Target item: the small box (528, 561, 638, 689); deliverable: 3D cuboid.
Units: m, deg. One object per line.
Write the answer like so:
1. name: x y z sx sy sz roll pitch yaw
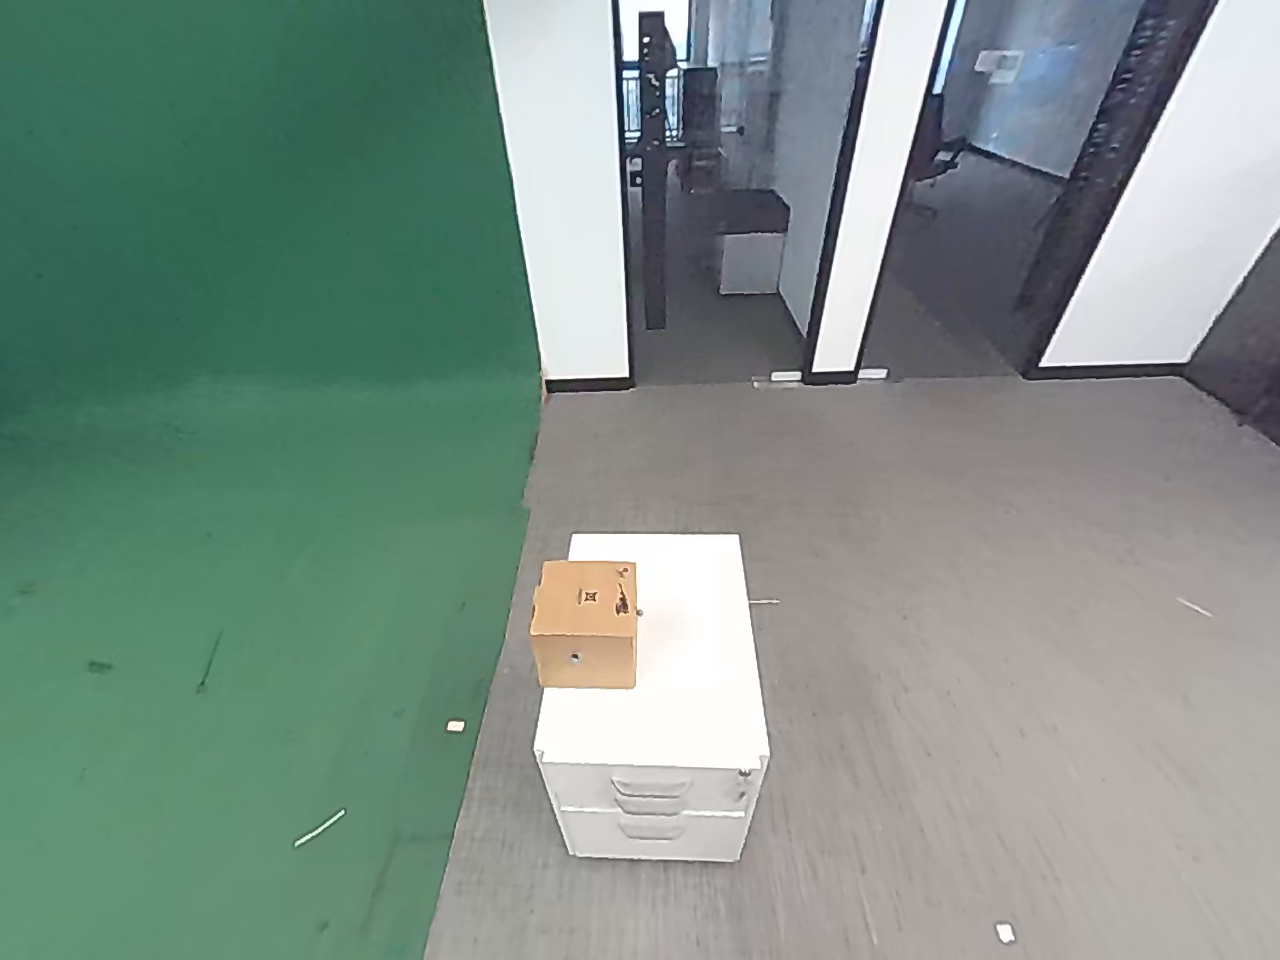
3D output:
1. small box: -0.095 0.269 1.000 0.179 0.176 0.168 1 40 1
